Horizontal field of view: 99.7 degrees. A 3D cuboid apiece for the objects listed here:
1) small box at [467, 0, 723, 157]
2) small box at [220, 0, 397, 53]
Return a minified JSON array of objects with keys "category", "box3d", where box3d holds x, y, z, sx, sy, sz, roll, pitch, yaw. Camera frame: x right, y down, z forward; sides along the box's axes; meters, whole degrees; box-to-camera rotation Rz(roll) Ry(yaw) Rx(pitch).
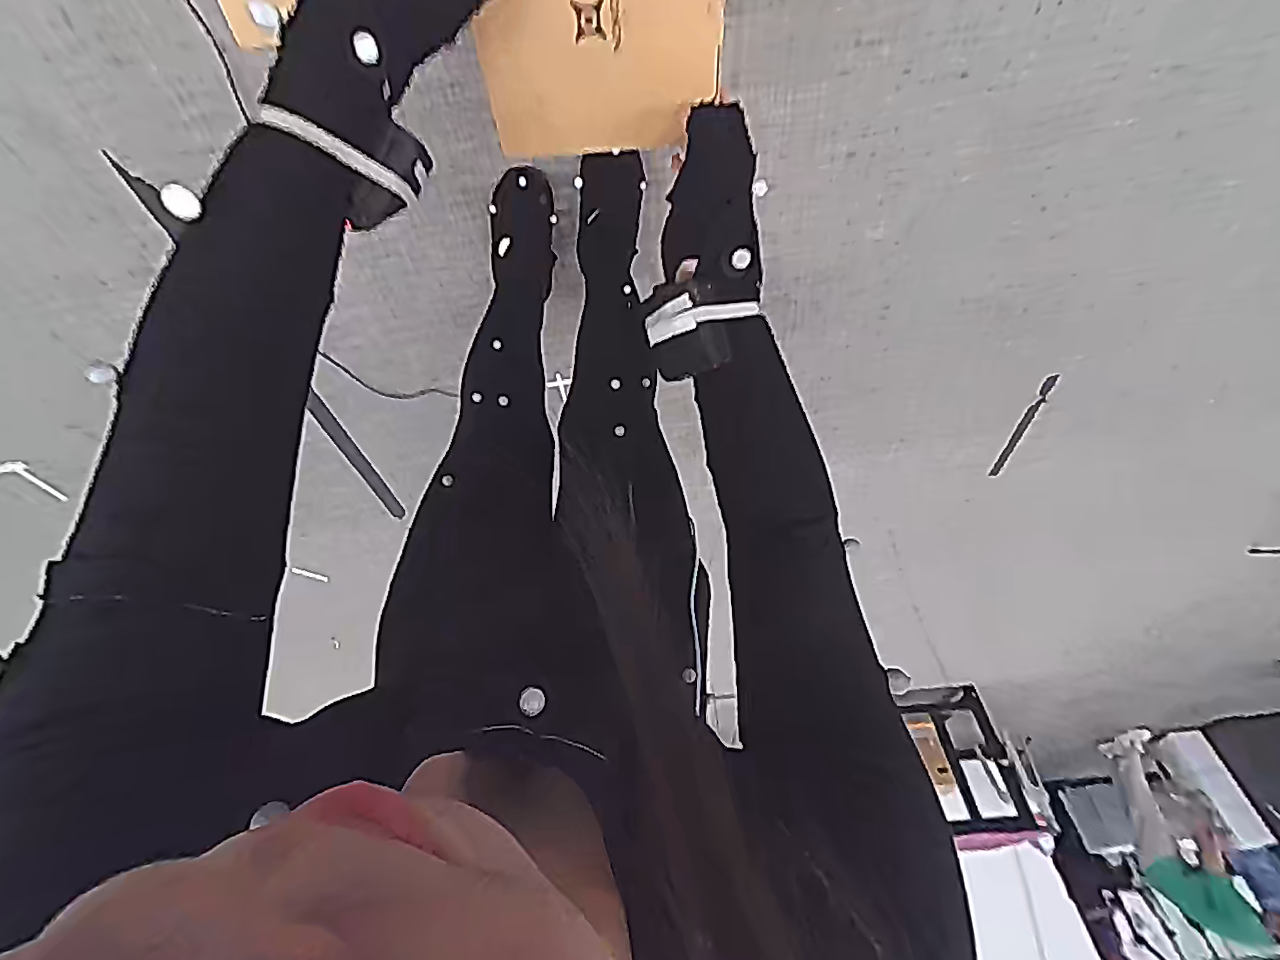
[{"category":"small box","box3d":[-0.029,-0.379,0.422,0.179,0.176,0.168,-3,142,3]},{"category":"small box","box3d":[-0.421,-0.657,0.665,0.168,0.176,0.179,-4,139,-2]}]
